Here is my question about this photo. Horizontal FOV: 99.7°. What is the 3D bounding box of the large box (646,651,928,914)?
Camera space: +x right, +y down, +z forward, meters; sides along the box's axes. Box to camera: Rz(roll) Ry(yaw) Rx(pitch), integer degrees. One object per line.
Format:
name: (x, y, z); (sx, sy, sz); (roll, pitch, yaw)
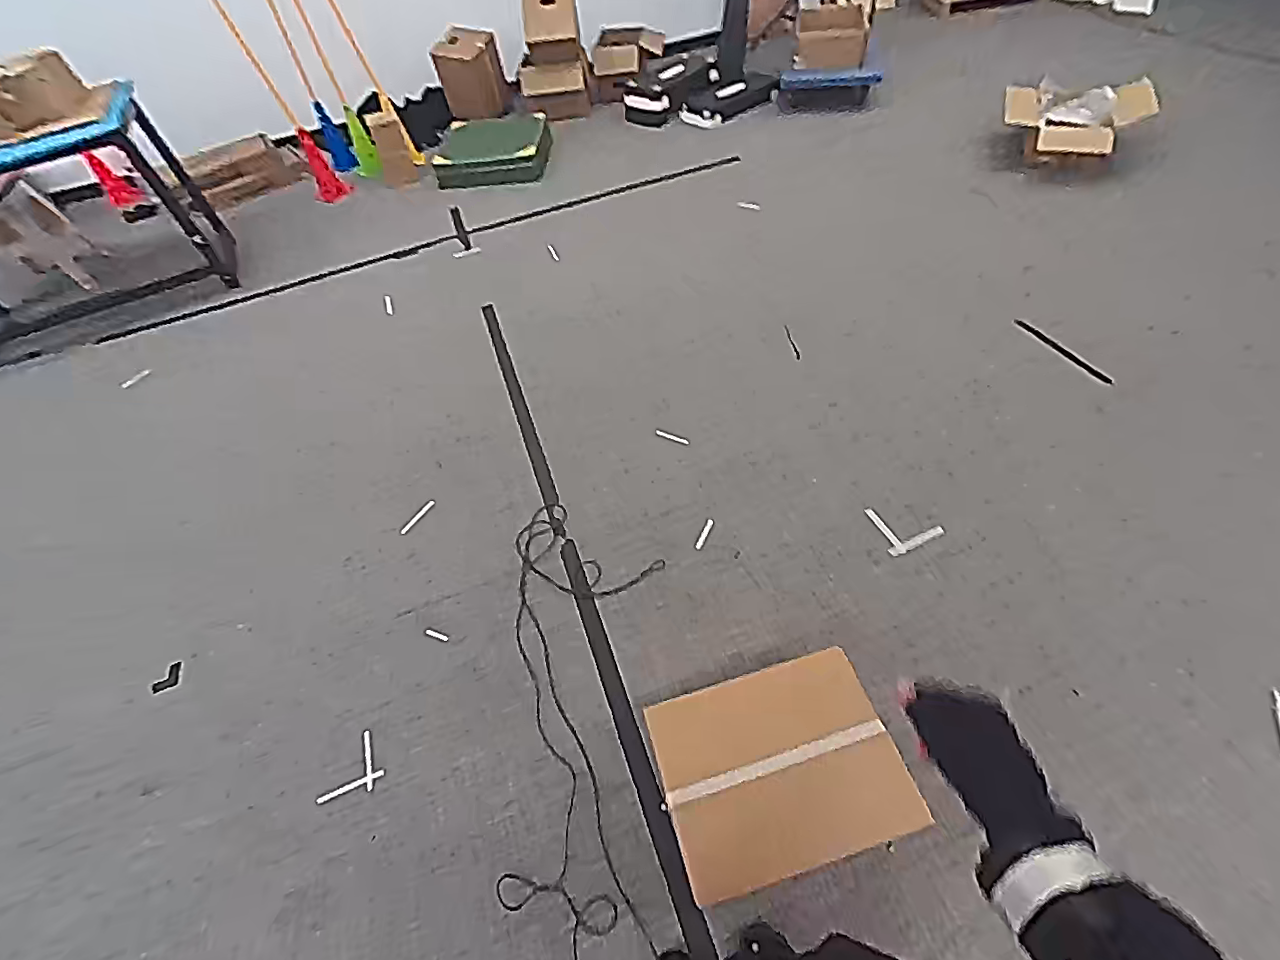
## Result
large box: (0.255, 0.590, 1.061); (0.408, 0.320, 0.320); (-16, 51, -6)
